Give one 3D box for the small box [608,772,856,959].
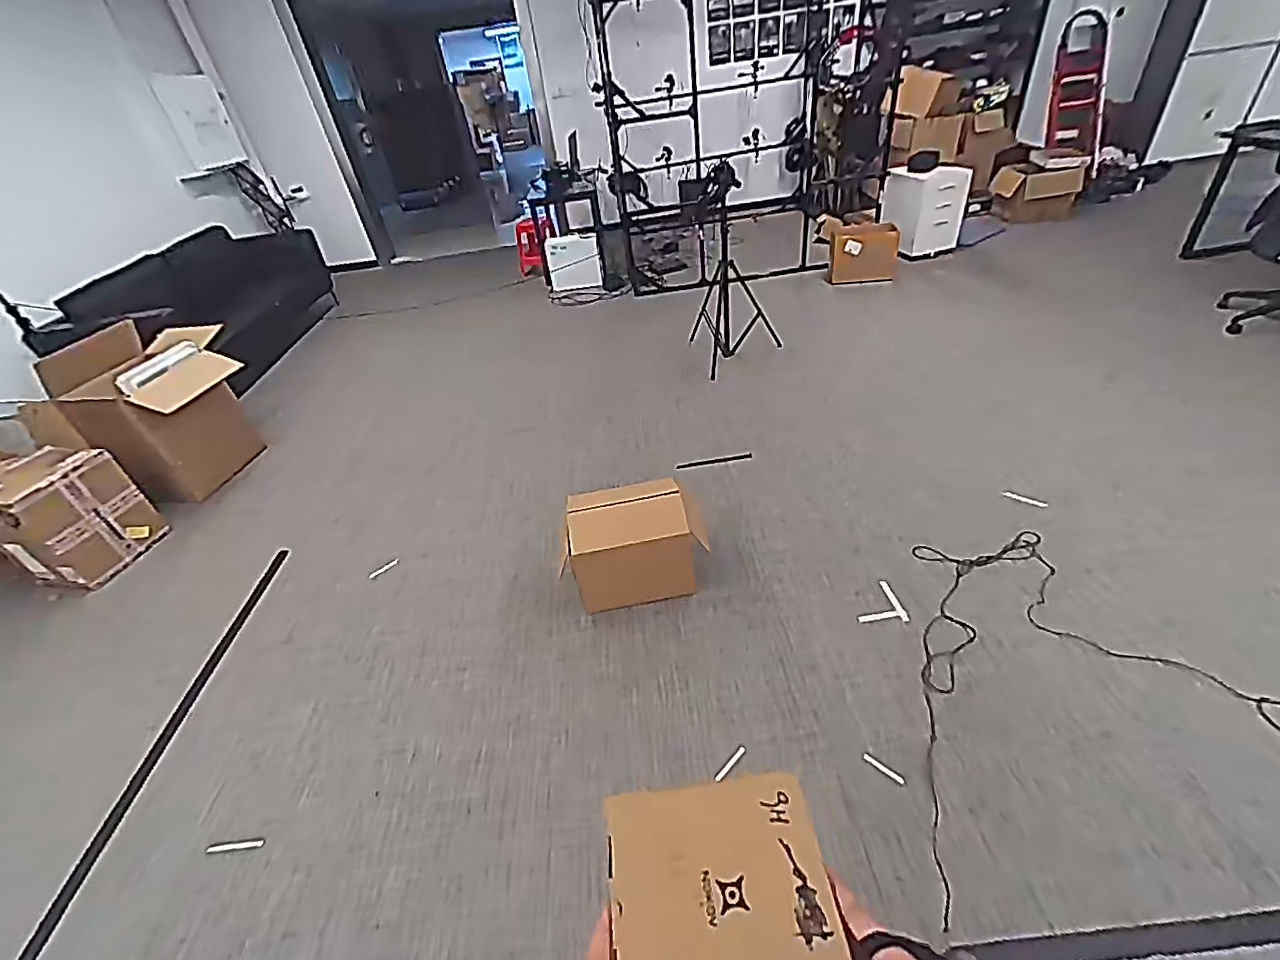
[{"bbox_3d":[0.071,0.383,0.473,0.179,0.176,0.168,-6,42,-2],"label":"small box"}]
